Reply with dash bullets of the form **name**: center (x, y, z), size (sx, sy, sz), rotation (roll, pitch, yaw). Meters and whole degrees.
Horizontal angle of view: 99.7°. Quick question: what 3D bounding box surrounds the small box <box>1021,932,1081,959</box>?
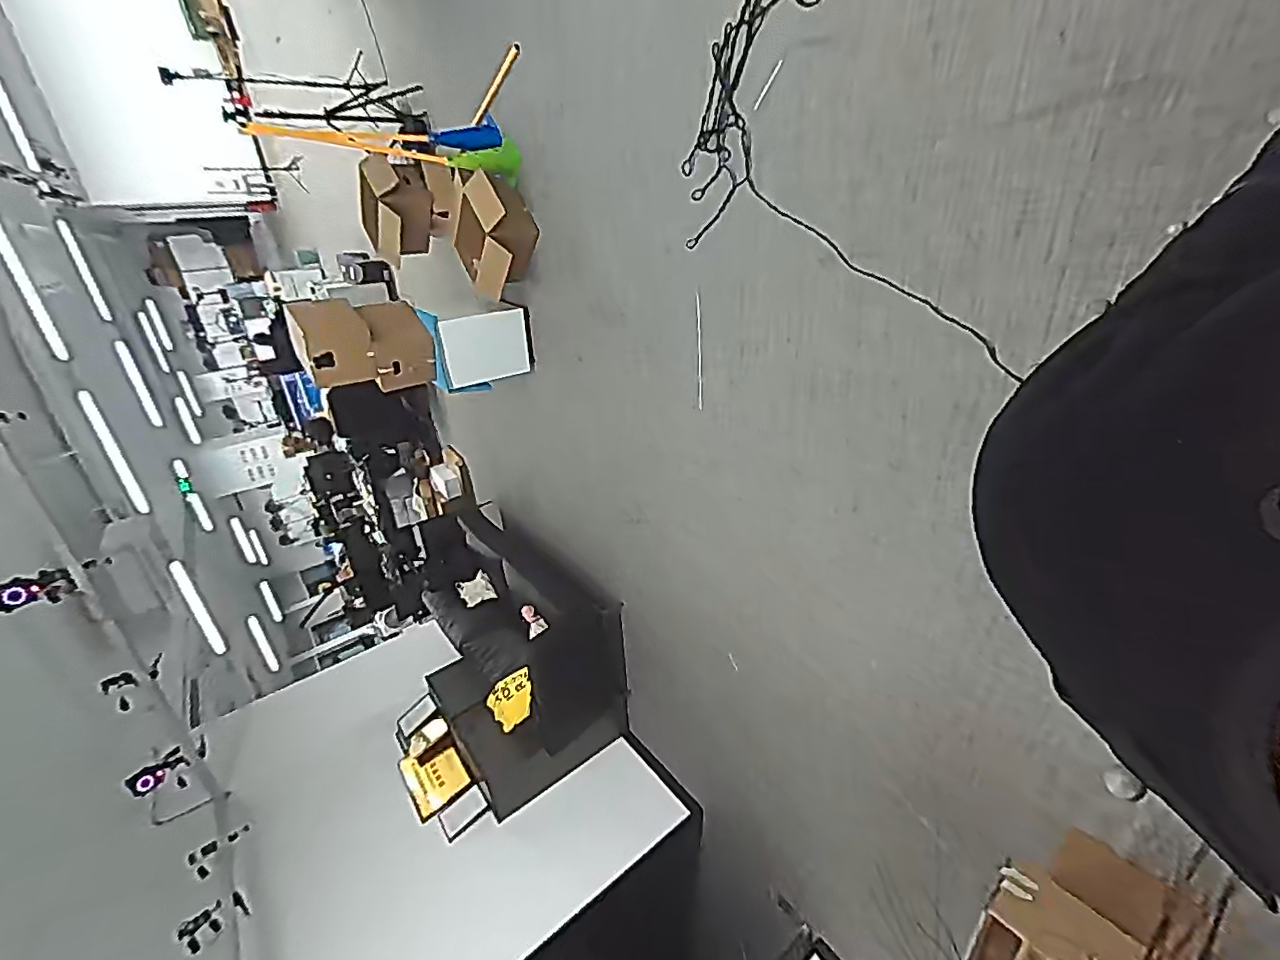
- **small box**: center (0.973, 1.211, 1.241), size (0.168, 0.176, 0.179), rotation (8, 115, 55)
